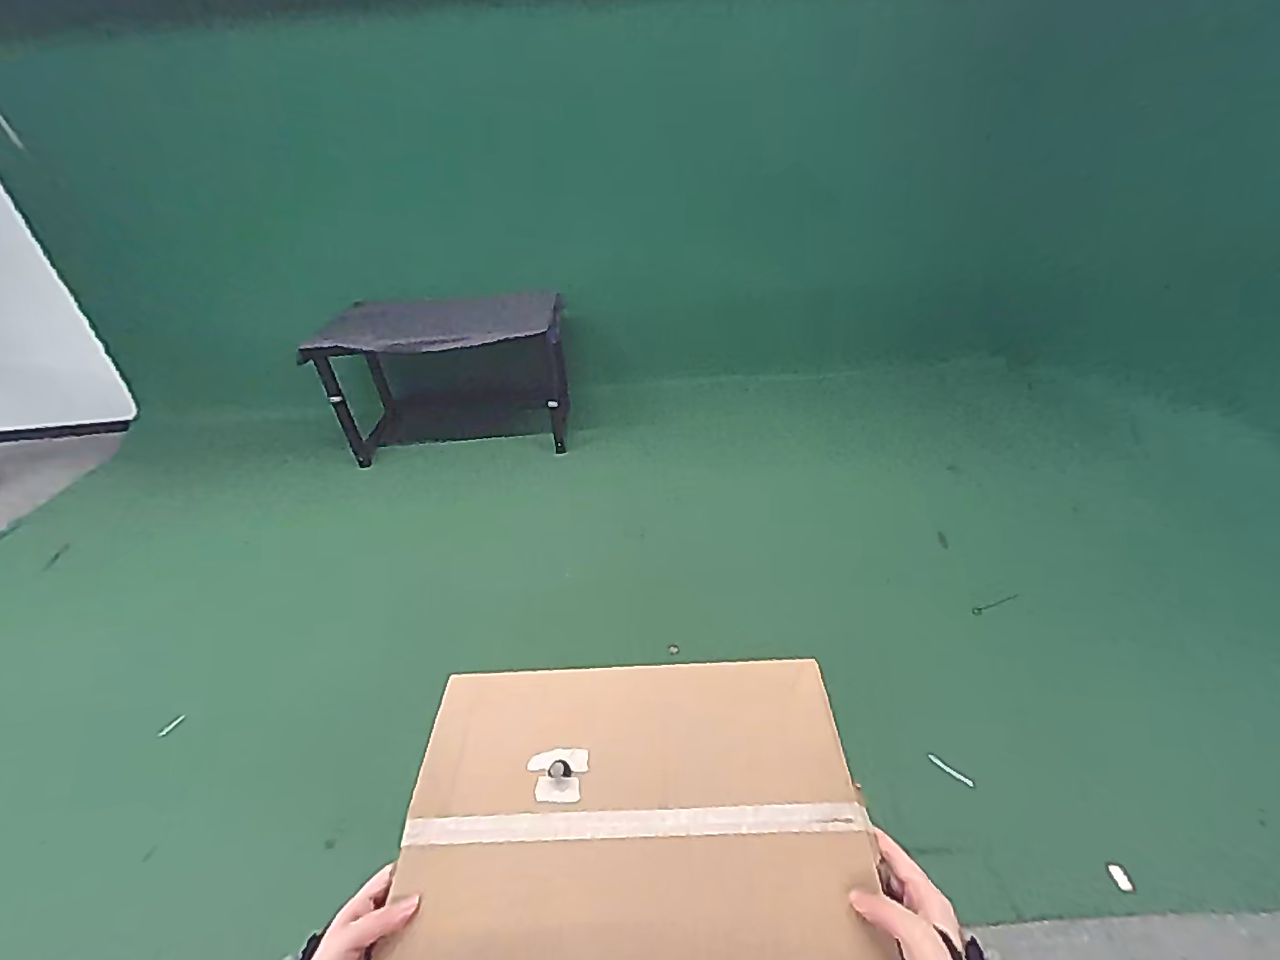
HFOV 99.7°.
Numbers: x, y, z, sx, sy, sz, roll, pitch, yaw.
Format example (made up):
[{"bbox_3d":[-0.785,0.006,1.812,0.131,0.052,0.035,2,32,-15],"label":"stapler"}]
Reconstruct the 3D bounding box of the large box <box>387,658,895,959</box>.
[{"bbox_3d":[0.010,0.424,0.584,0.408,0.320,0.320,-5,40,4],"label":"large box"}]
